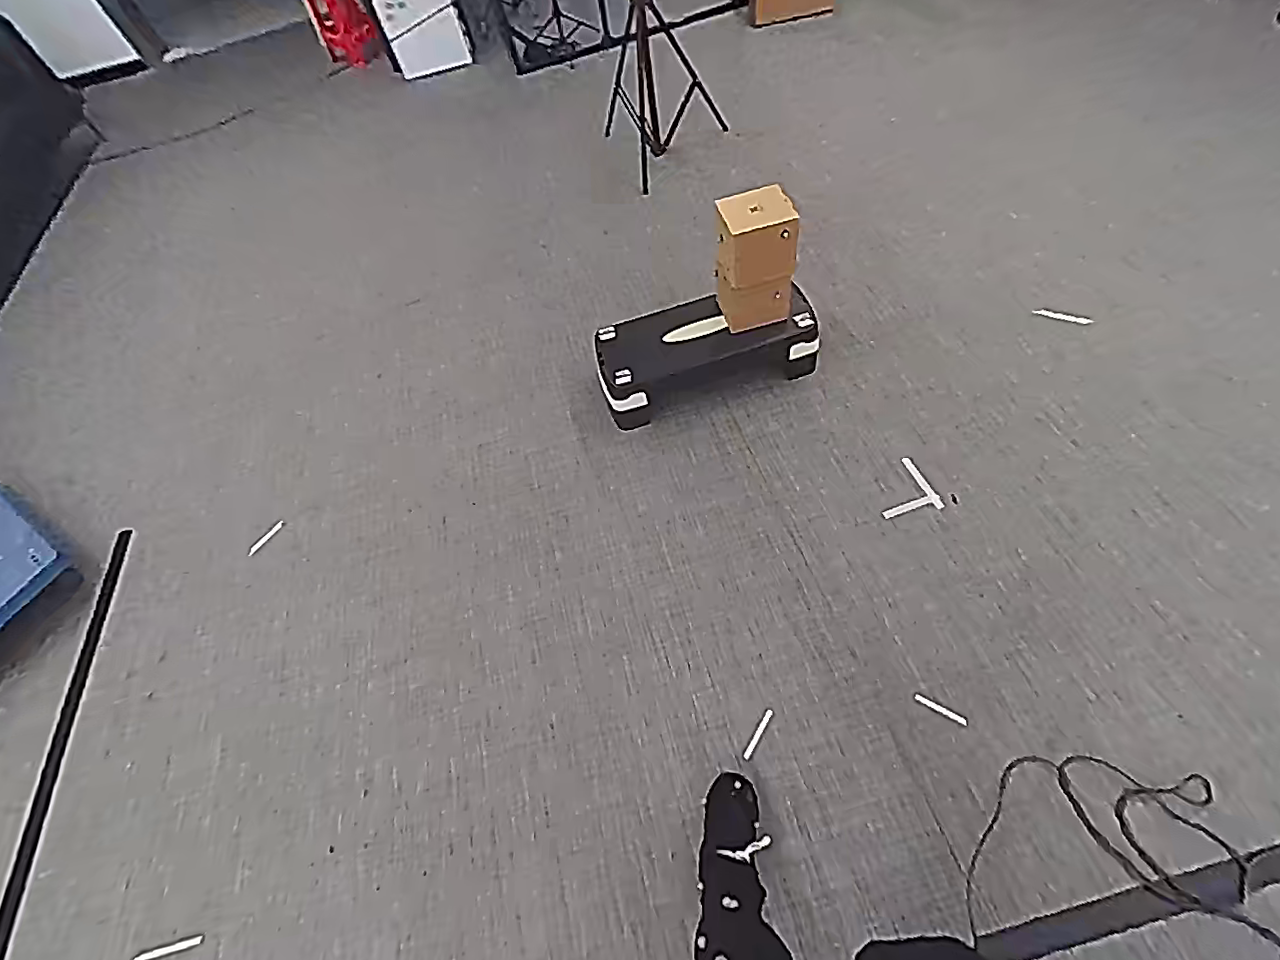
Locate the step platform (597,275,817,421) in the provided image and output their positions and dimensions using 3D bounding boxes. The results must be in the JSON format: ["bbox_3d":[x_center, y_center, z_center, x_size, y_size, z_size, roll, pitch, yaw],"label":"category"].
[{"bbox_3d":[0.208,-0.435,1.738,0.684,0.204,0.286,-18,56,0],"label":"step platform"}]

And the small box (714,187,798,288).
[{"bbox_3d":[0.306,-0.642,1.447,0.179,0.176,0.168,-15,57,0],"label":"small box"}]
